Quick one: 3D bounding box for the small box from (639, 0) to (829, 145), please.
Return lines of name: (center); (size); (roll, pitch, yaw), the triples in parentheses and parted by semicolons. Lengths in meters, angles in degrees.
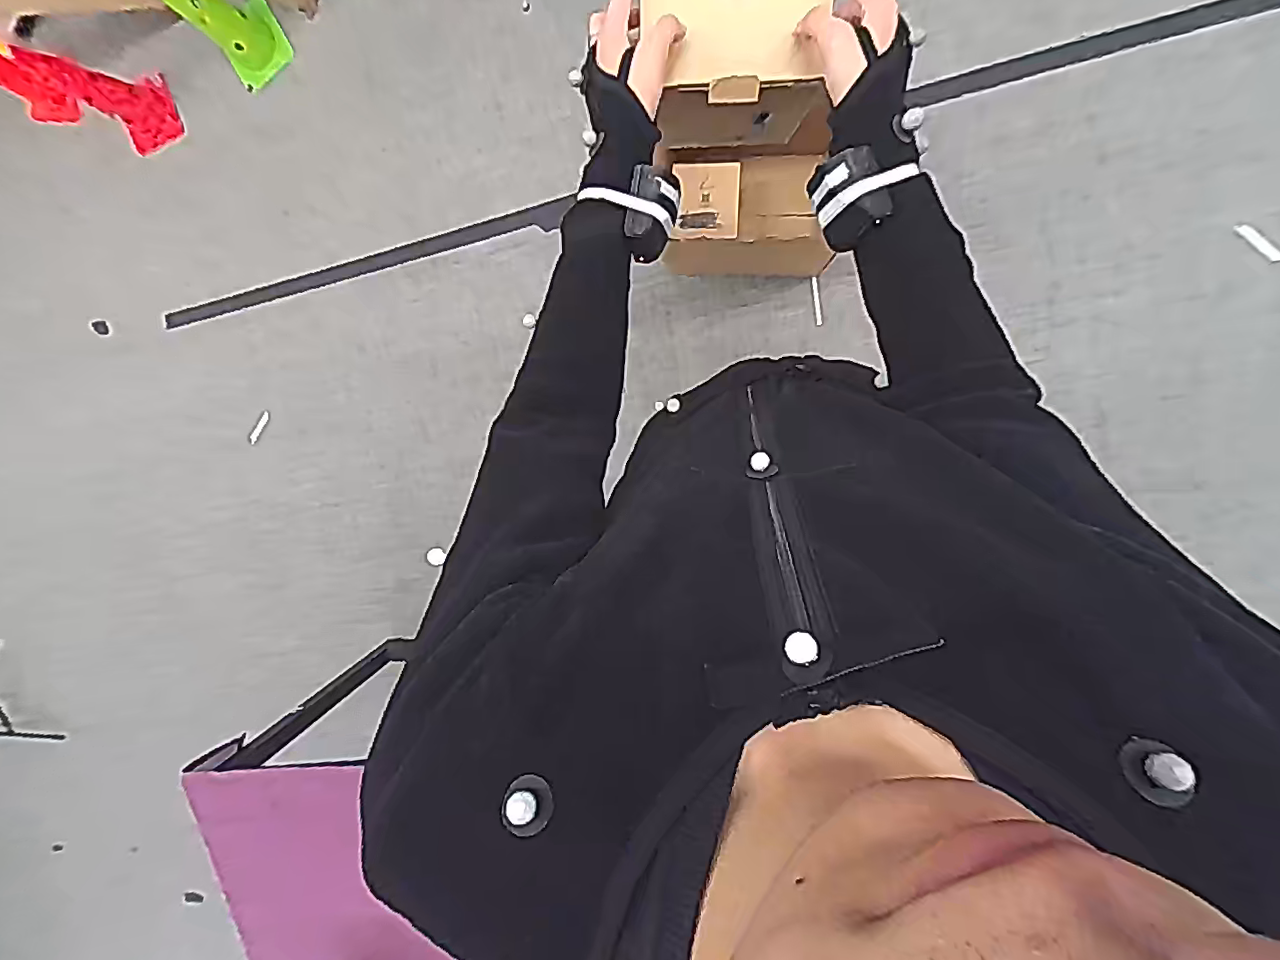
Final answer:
small box: (0.085, -0.451, 0.535); (0.168, 0.176, 0.179); (0, 105, 3)
